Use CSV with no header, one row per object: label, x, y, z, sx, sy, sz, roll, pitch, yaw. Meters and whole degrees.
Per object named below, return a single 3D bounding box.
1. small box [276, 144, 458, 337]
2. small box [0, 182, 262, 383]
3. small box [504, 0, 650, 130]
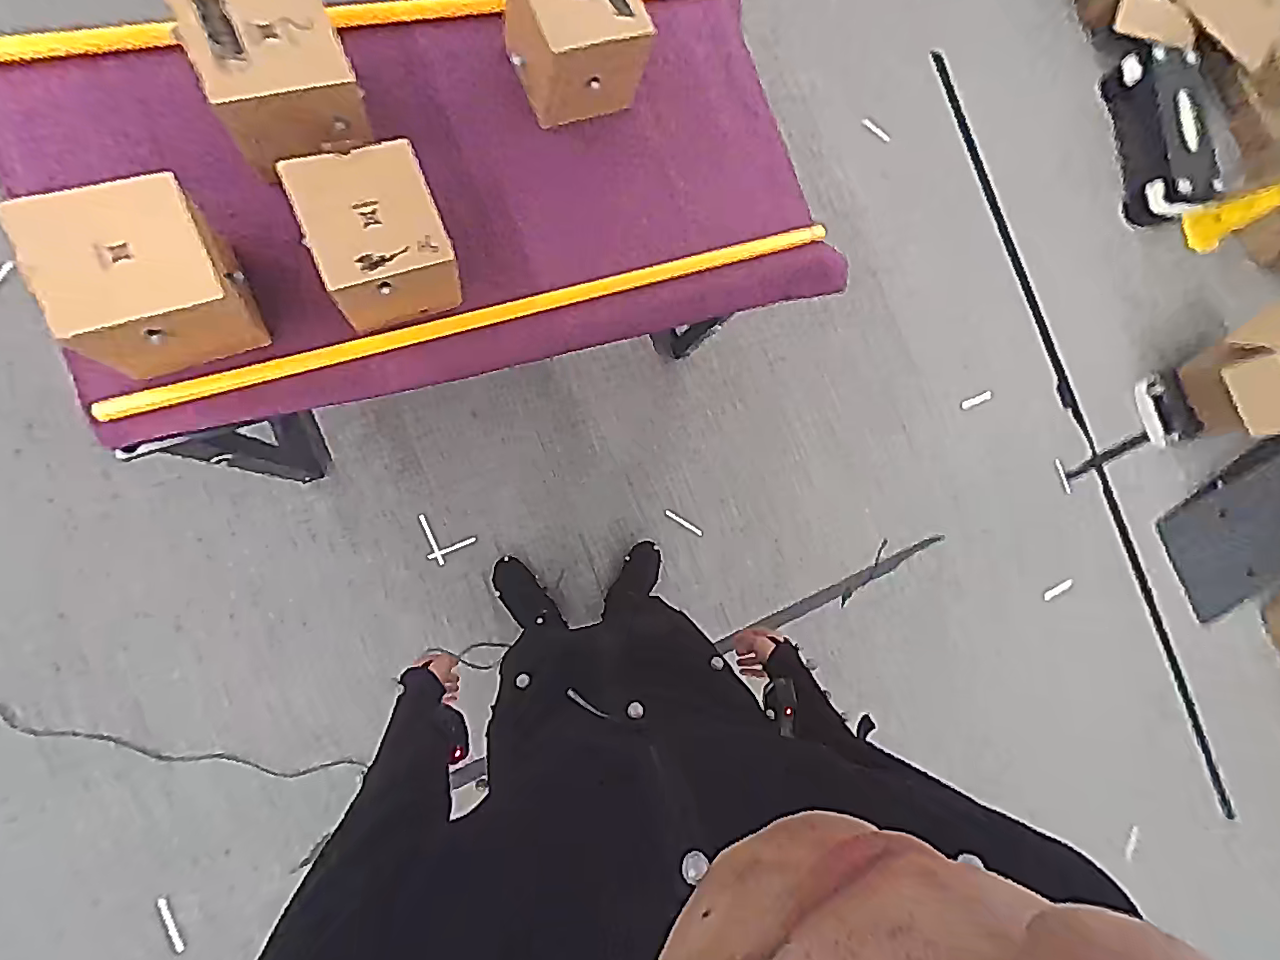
small box,-0.375,-0.333,0.776,0.168,0.176,0.179,-22,91,-15
small box,-0.629,-0.244,0.700,0.179,0.176,0.168,-23,91,-16
small box,-0.110,-0.715,0.878,0.179,0.176,0.168,-25,93,-14
